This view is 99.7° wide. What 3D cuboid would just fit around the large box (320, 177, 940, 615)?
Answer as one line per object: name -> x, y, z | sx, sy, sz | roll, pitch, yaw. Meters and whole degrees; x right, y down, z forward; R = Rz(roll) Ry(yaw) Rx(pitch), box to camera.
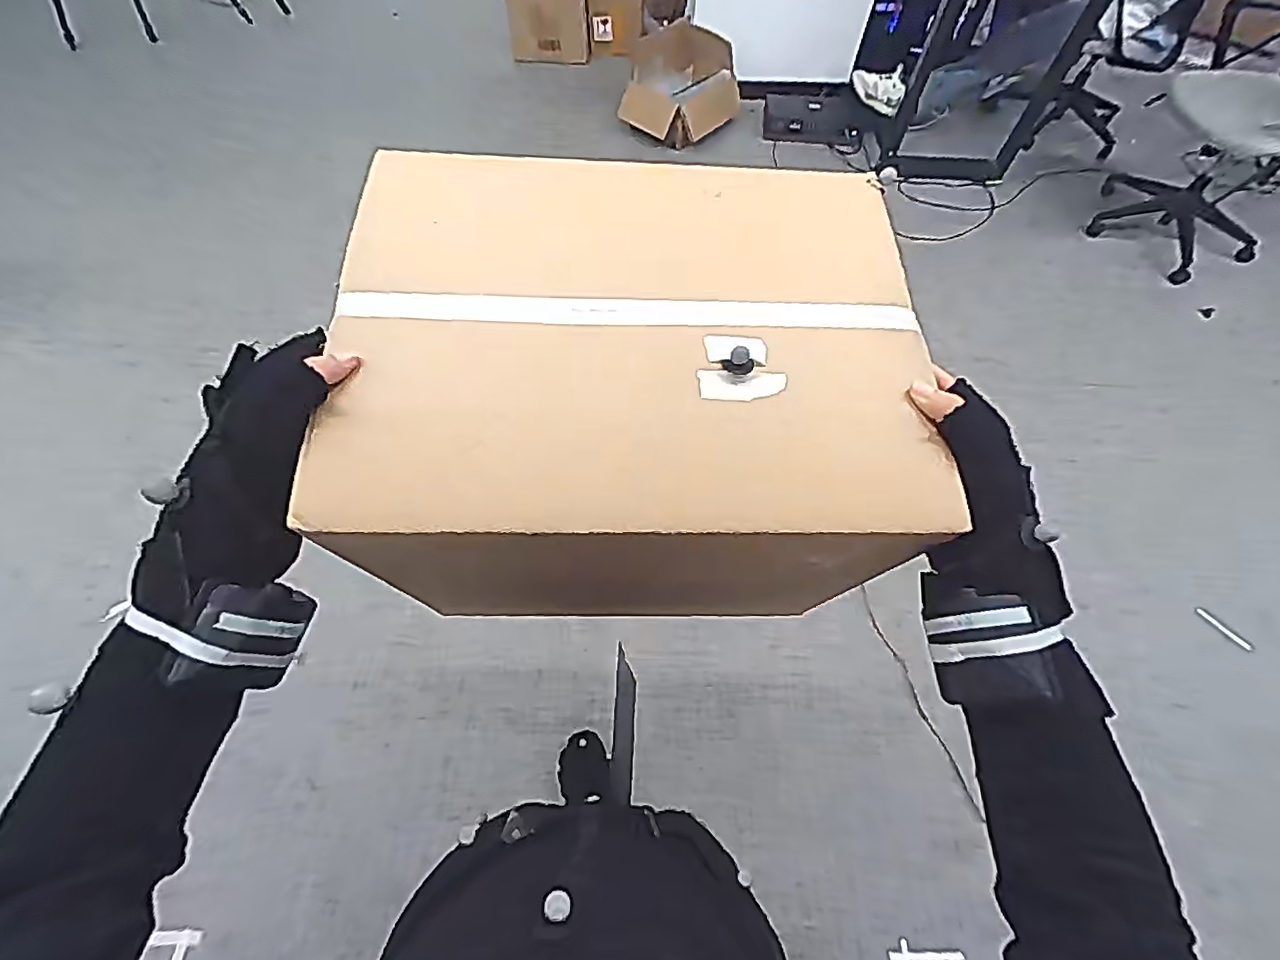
large box -> -0.014, -0.052, 0.536 | 0.408, 0.320, 0.320 | 1, 67, -4
